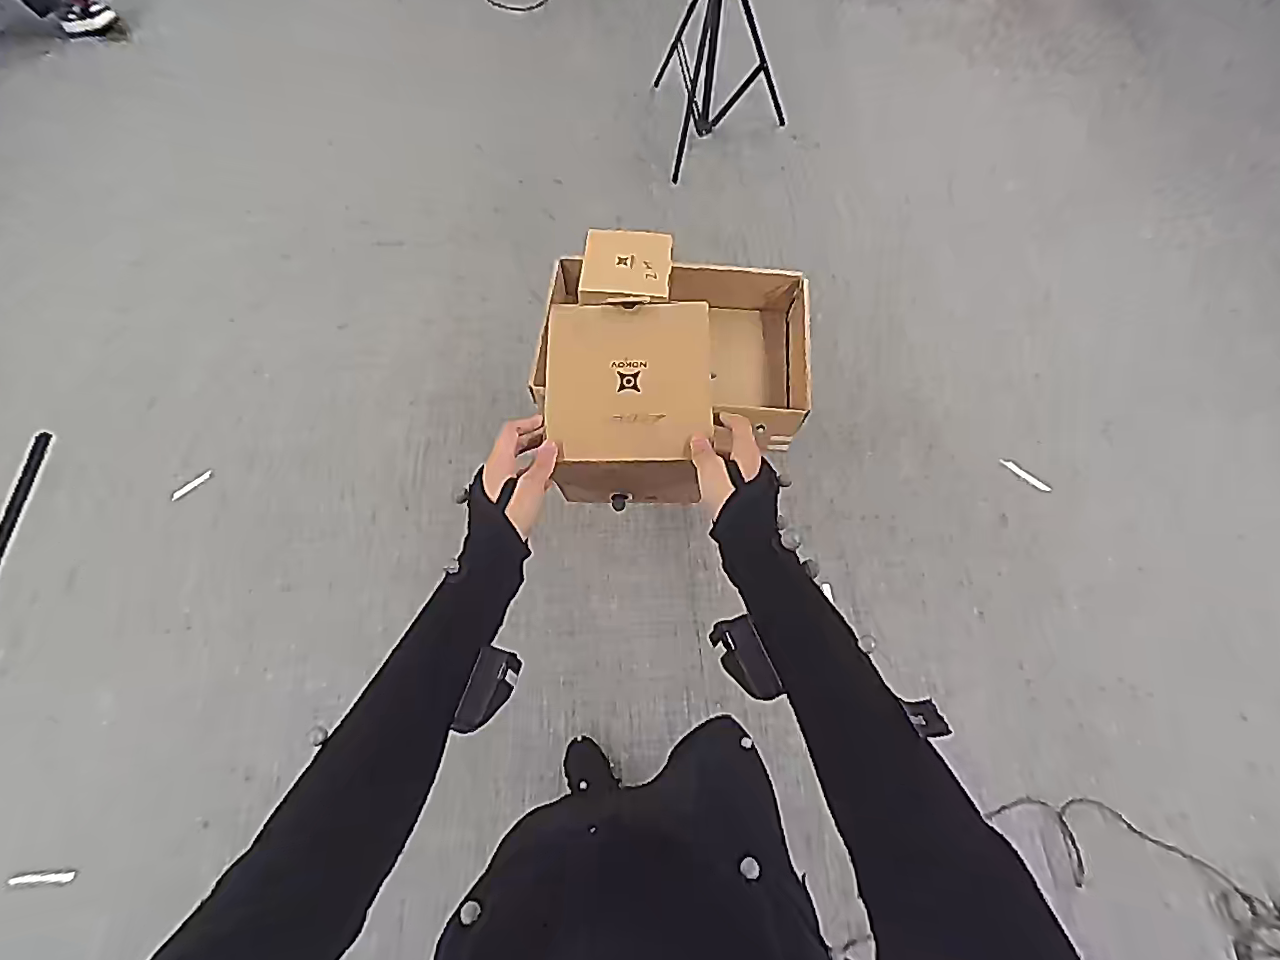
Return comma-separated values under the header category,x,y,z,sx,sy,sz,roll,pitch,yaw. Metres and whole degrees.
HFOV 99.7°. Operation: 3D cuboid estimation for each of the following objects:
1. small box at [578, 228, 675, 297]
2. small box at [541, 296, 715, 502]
category,x,y,z,sx,sy,sz,roll,pitch,yaw
small box,-0.024,-0.394,1.129,0.179,0.176,0.168,6,67,2
small box,-0.009,-0.082,0.604,0.168,0.176,0.179,0,73,2
